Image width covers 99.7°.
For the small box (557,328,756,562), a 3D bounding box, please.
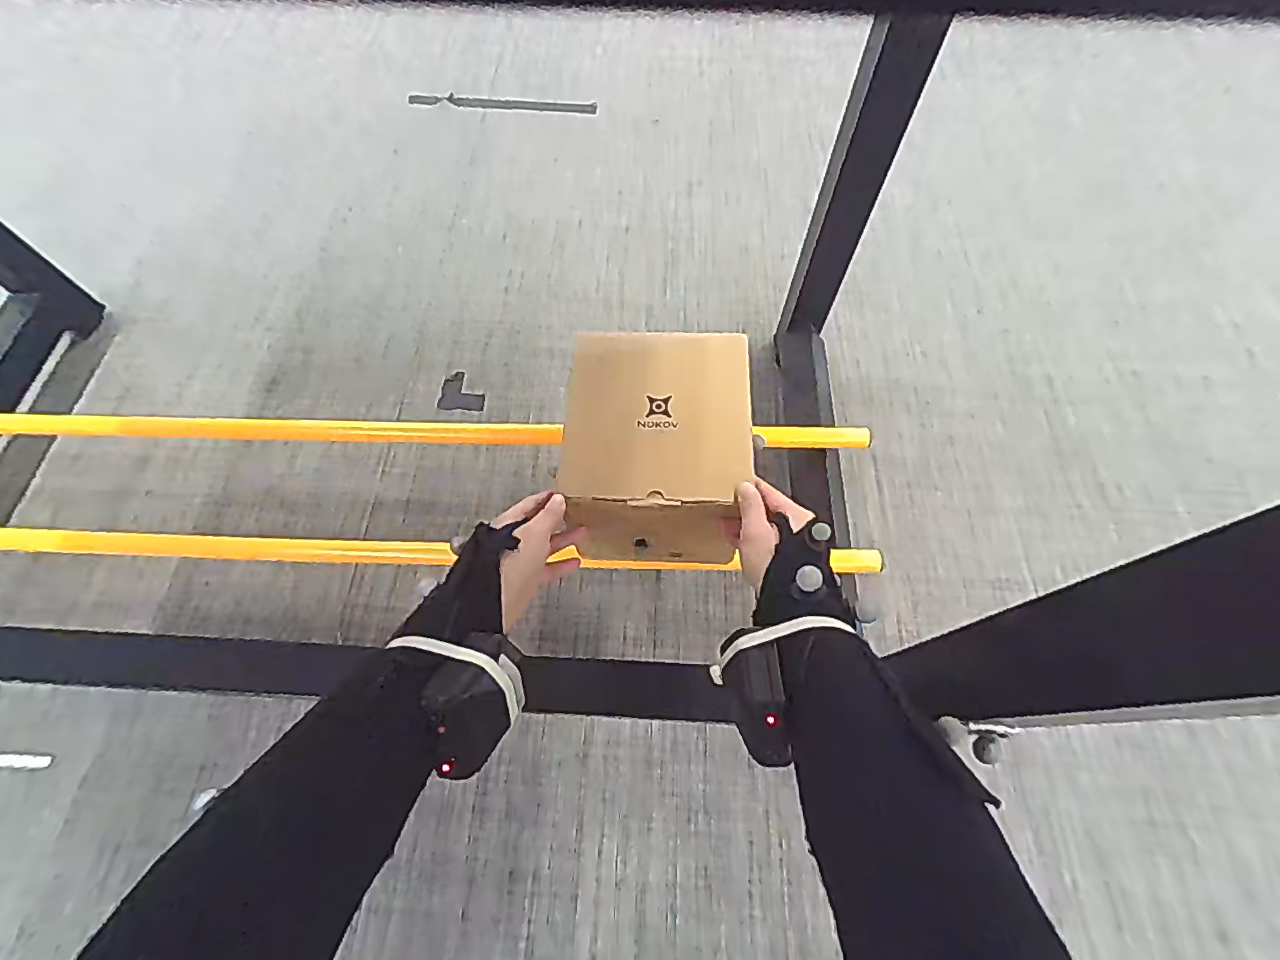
[{"bbox_3d":[0.018,-0.029,0.545,0.168,0.176,0.179,1,65,2],"label":"small box"}]
